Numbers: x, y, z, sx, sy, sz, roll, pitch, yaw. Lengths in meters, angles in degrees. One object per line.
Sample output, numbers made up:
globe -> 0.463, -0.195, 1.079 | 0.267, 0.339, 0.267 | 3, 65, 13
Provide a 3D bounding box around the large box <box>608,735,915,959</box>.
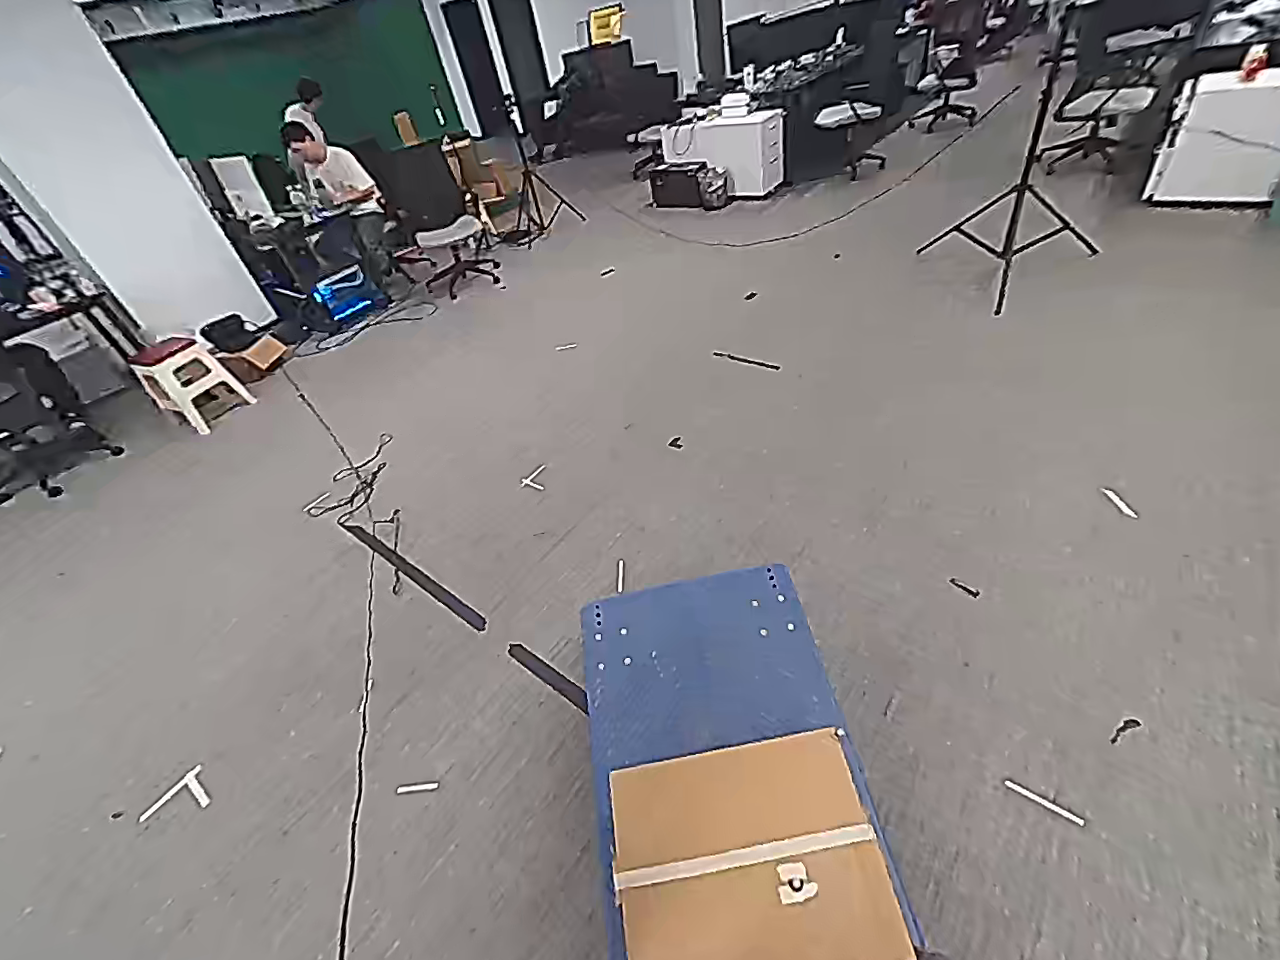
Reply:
large box -> 0.183, 0.691, 0.949 | 0.408, 0.320, 0.320 | -13, 51, 1
